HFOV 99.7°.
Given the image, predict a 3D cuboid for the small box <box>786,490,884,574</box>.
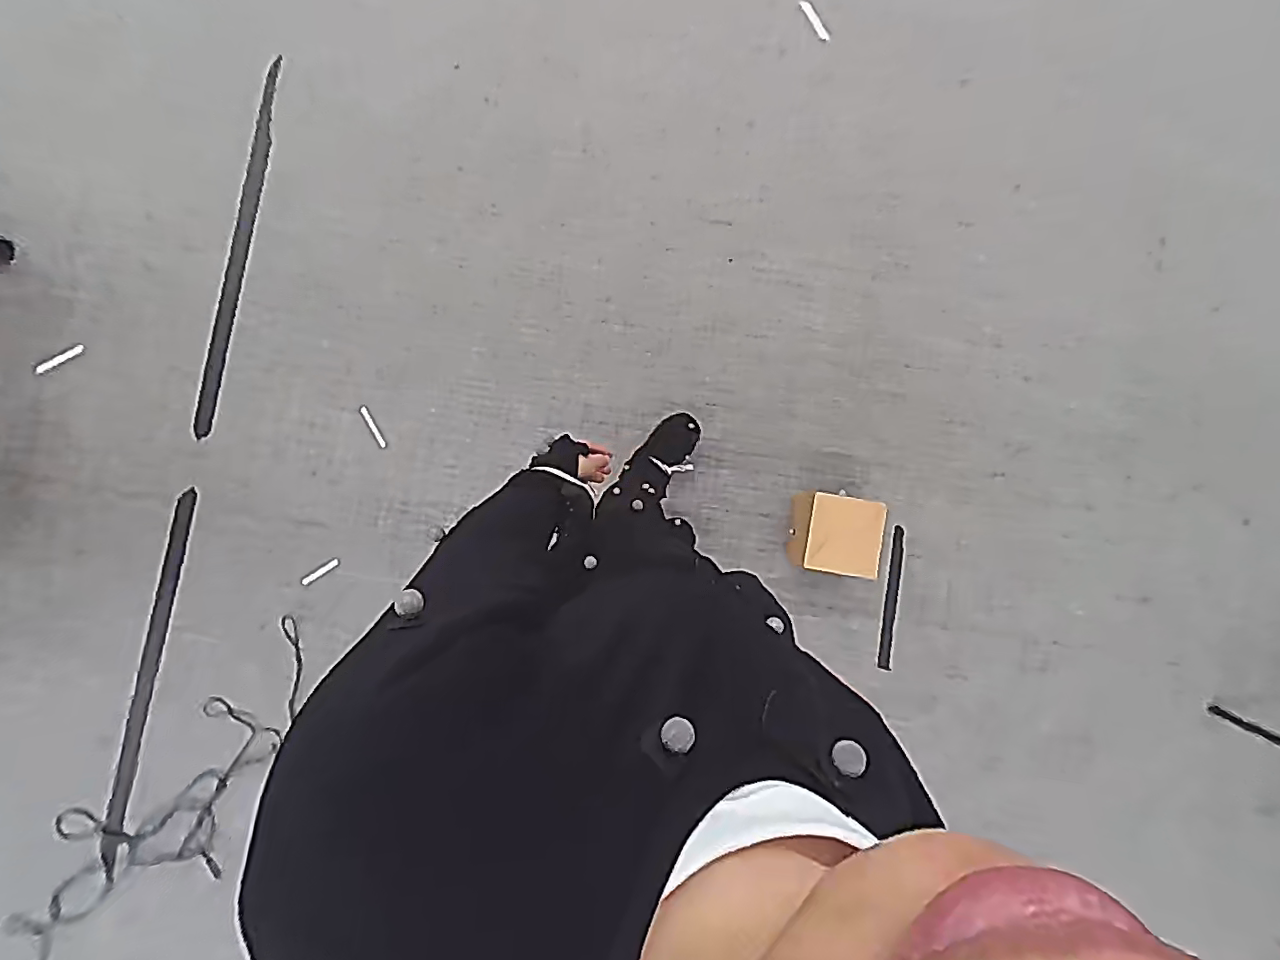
[{"bbox_3d":[0.462,0.123,1.296,0.168,0.176,0.179,10,88,2],"label":"small box"}]
